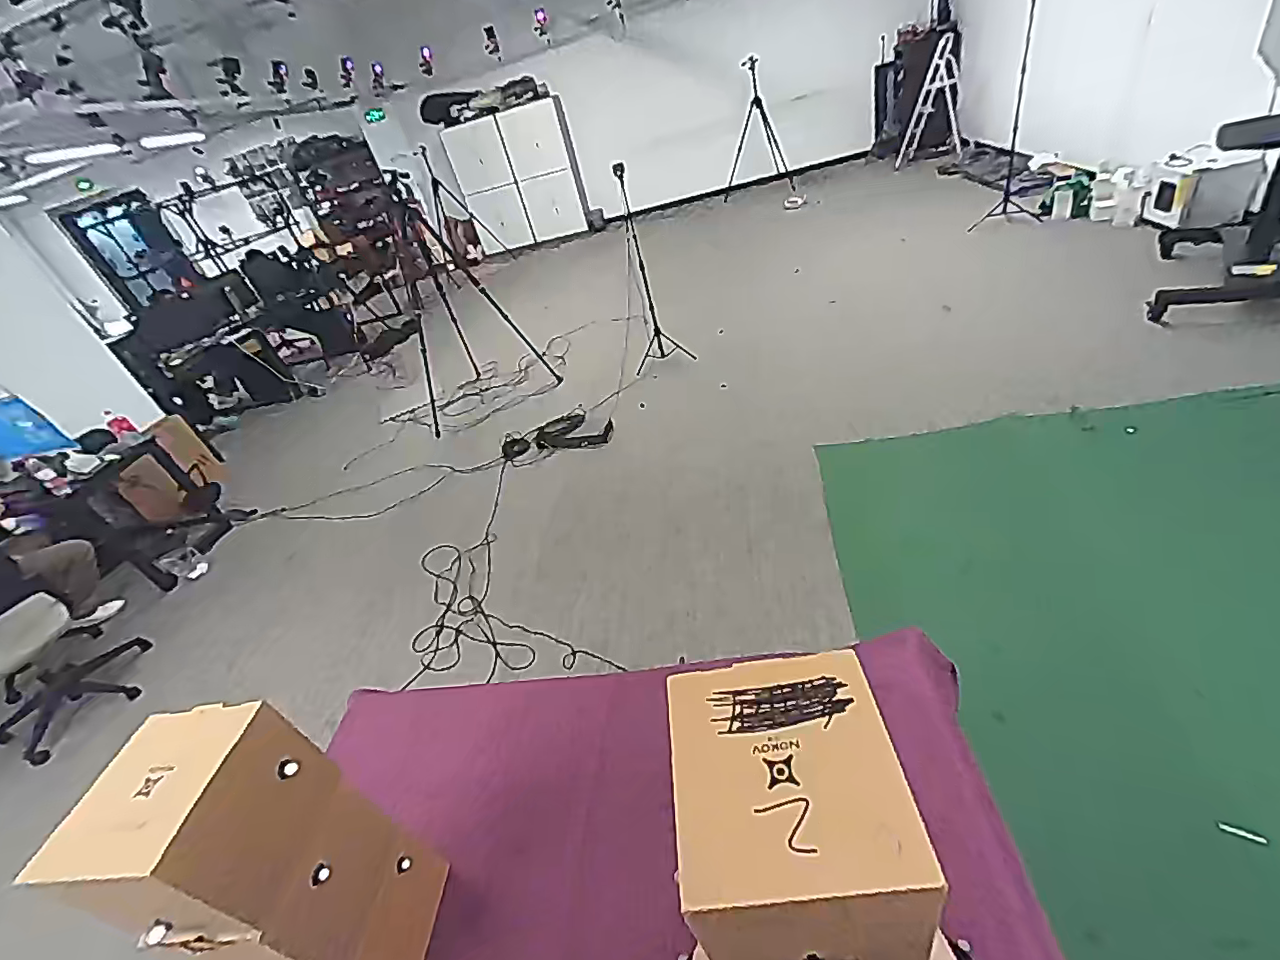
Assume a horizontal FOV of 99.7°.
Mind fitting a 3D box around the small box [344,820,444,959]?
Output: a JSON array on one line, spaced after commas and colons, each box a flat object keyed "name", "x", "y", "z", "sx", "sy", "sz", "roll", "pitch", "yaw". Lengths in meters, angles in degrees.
[{"name": "small box", "x": -0.417, "y": 0.636, "z": 0.798, "sx": 0.168, "sy": 0.176, "sz": 0.179, "roll": -11, "pitch": 35, "yaw": 10}]

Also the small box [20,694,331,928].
[{"name": "small box", "x": -0.495, "y": 0.375, "z": 0.616, "sx": 0.168, "sy": 0.176, "sz": 0.179, "roll": -10, "pitch": 35, "yaw": 11}]

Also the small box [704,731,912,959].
[{"name": "small box", "x": 0.163, "y": 0.388, "z": 0.552, "sx": 0.168, "sy": 0.176, "sz": 0.179, "roll": -9, "pitch": 35, "yaw": 11}]

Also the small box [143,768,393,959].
[{"name": "small box", "x": -0.457, "y": 0.508, "z": 0.703, "sx": 0.168, "sy": 0.176, "sz": 0.179, "roll": -10, "pitch": 34, "yaw": 11}]
